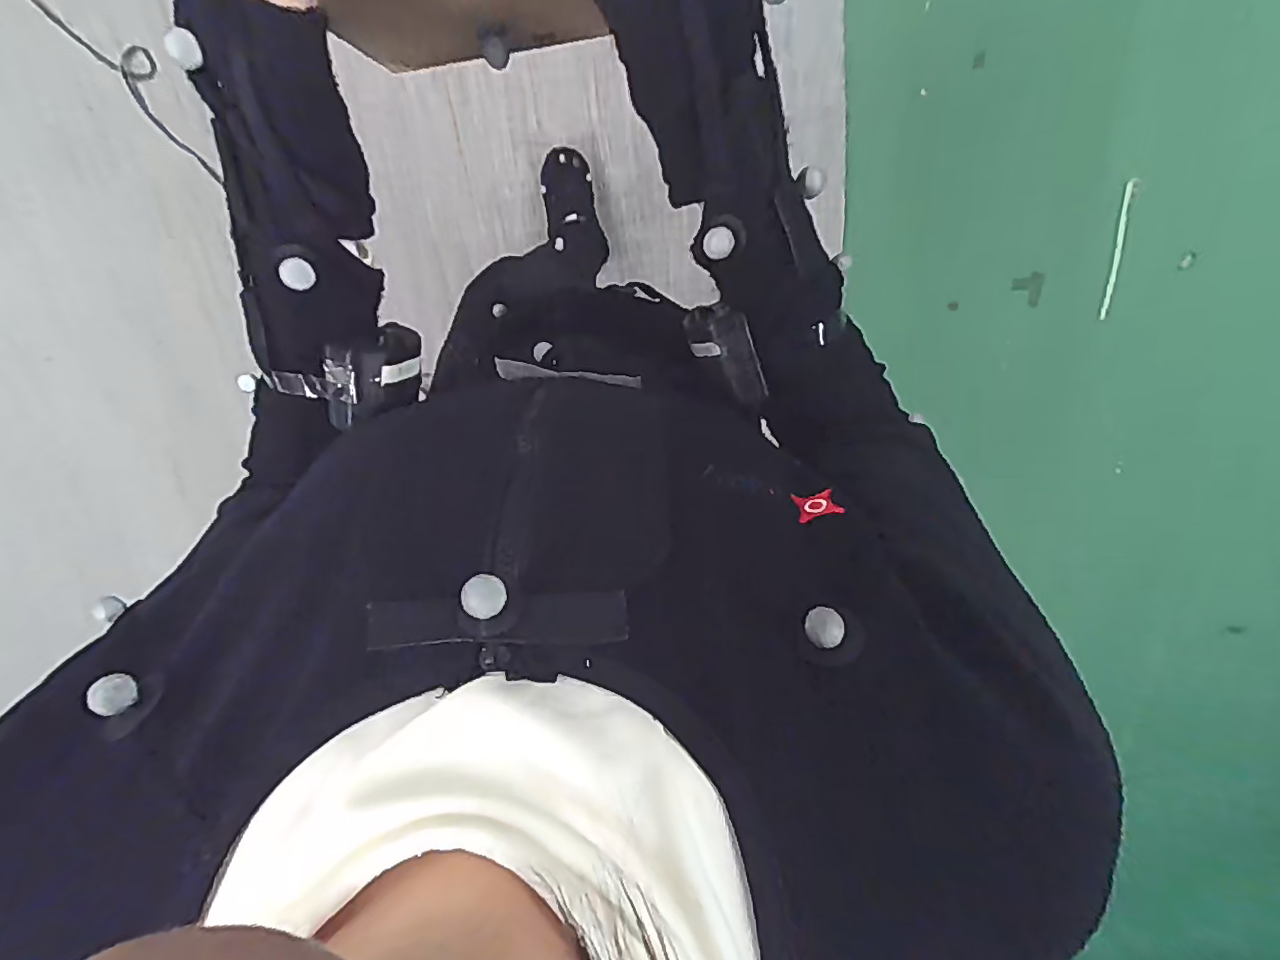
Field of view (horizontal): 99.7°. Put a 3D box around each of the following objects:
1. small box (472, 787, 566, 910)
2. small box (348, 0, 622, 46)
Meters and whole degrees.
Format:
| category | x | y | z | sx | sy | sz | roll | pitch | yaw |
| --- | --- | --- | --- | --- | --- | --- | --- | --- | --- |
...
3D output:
| category | x | y | z | sx | sy | sz | roll | pitch | yaw |
| --- | --- | --- | --- | --- | --- | --- | --- | --- | --- |
| small box | -0.283 | 0.891 | 1.313 | 0.168 | 0.176 | 0.179 | -15 | 113 | 2 |
| small box | -0.093 | -0.332 | 0.239 | 0.168 | 0.176 | 0.179 | -9 | 117 | 1 |
